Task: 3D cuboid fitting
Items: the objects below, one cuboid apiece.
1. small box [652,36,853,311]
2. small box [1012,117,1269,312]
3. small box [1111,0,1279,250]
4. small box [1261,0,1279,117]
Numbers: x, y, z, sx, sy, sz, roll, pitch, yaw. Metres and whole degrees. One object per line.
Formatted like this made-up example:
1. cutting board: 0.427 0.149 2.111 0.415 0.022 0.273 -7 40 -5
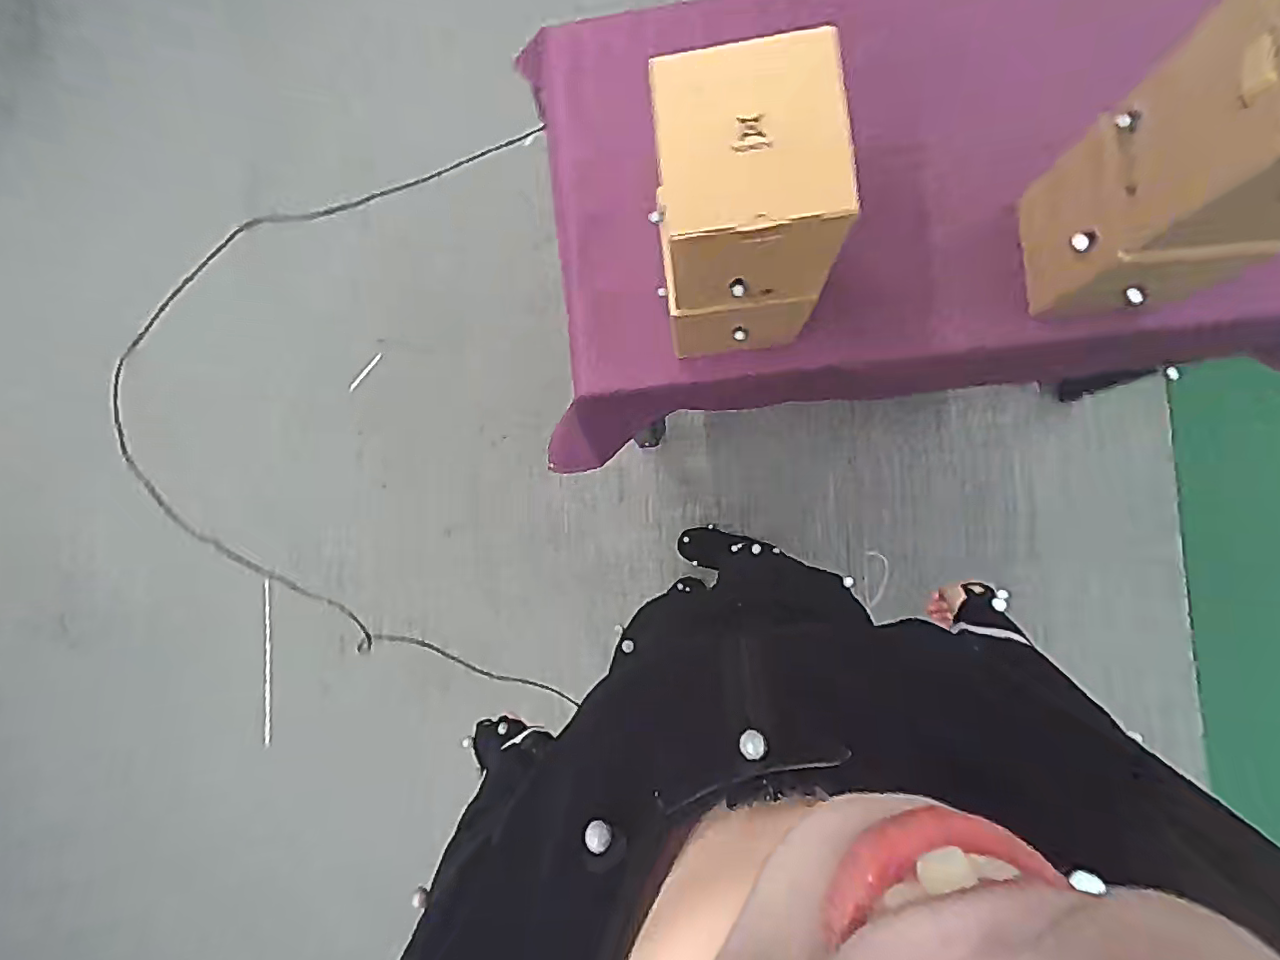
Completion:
1. small box: 0.104 -0.298 0.561 0.168 0.176 0.179 -6 86 5
2. small box: 0.606 -0.322 0.680 0.168 0.176 0.179 -3 85 5
3. small box: 0.598 -0.338 0.516 0.179 0.176 0.168 -2 86 5
4. small box: 0.580 -0.359 0.353 0.168 0.176 0.179 -3 86 5
